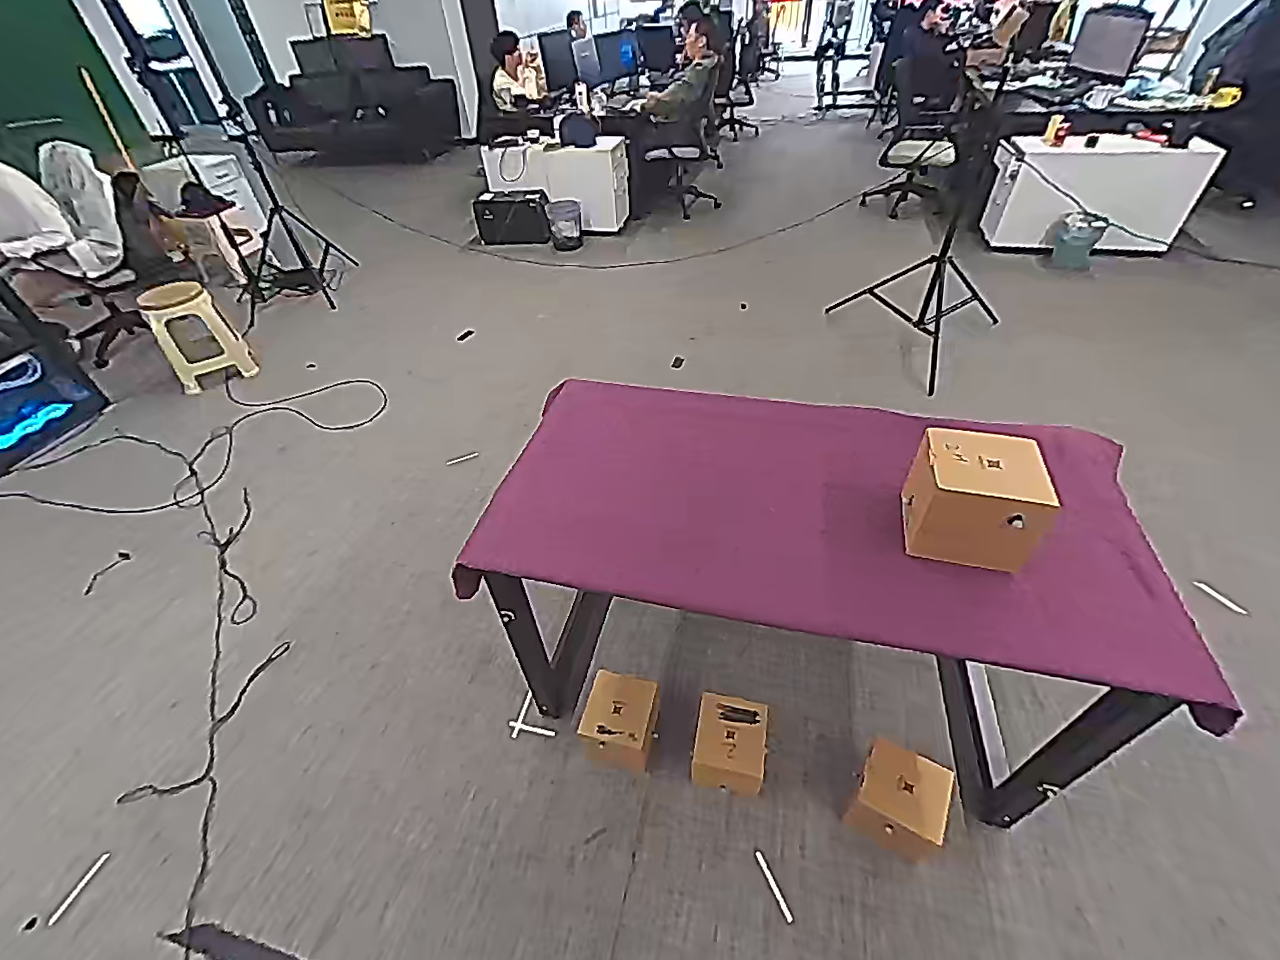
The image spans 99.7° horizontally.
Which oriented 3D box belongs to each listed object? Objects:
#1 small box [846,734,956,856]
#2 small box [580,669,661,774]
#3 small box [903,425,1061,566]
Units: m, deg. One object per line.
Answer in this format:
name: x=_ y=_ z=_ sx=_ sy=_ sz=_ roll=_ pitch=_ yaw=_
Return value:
small box: x=0.601 y=0.736 z=1.256 sx=0.179 sy=0.176 sz=0.168 roll=20 pitch=49 yaw=25
small box: x=-0.045 y=0.632 z=1.416 sx=0.168 sy=0.176 sz=0.179 roll=9 pitch=43 yaw=14
small box: x=0.577 y=0.029 z=0.941 sx=0.179 sy=0.176 sz=0.168 roll=9 pitch=44 yaw=14
